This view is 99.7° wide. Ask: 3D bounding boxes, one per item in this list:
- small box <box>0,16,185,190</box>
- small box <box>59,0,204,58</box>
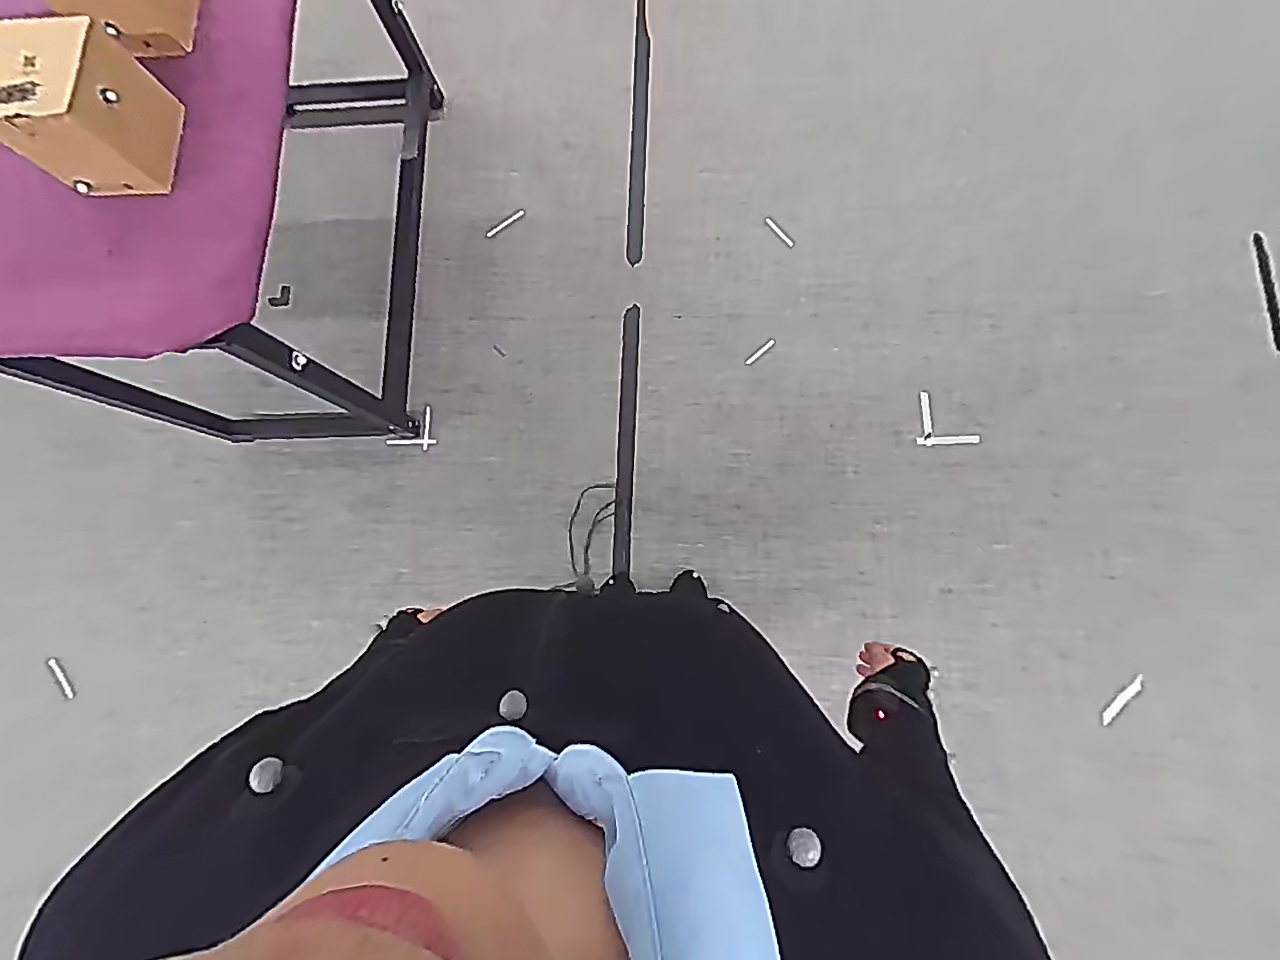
[{"bbox_3d":[-0.901,-0.603,0.887,0.168,0.176,0.179,1,80,3],"label":"small box"},{"bbox_3d":[-0.905,-0.884,0.937,0.168,0.176,0.179,1,81,3],"label":"small box"}]
